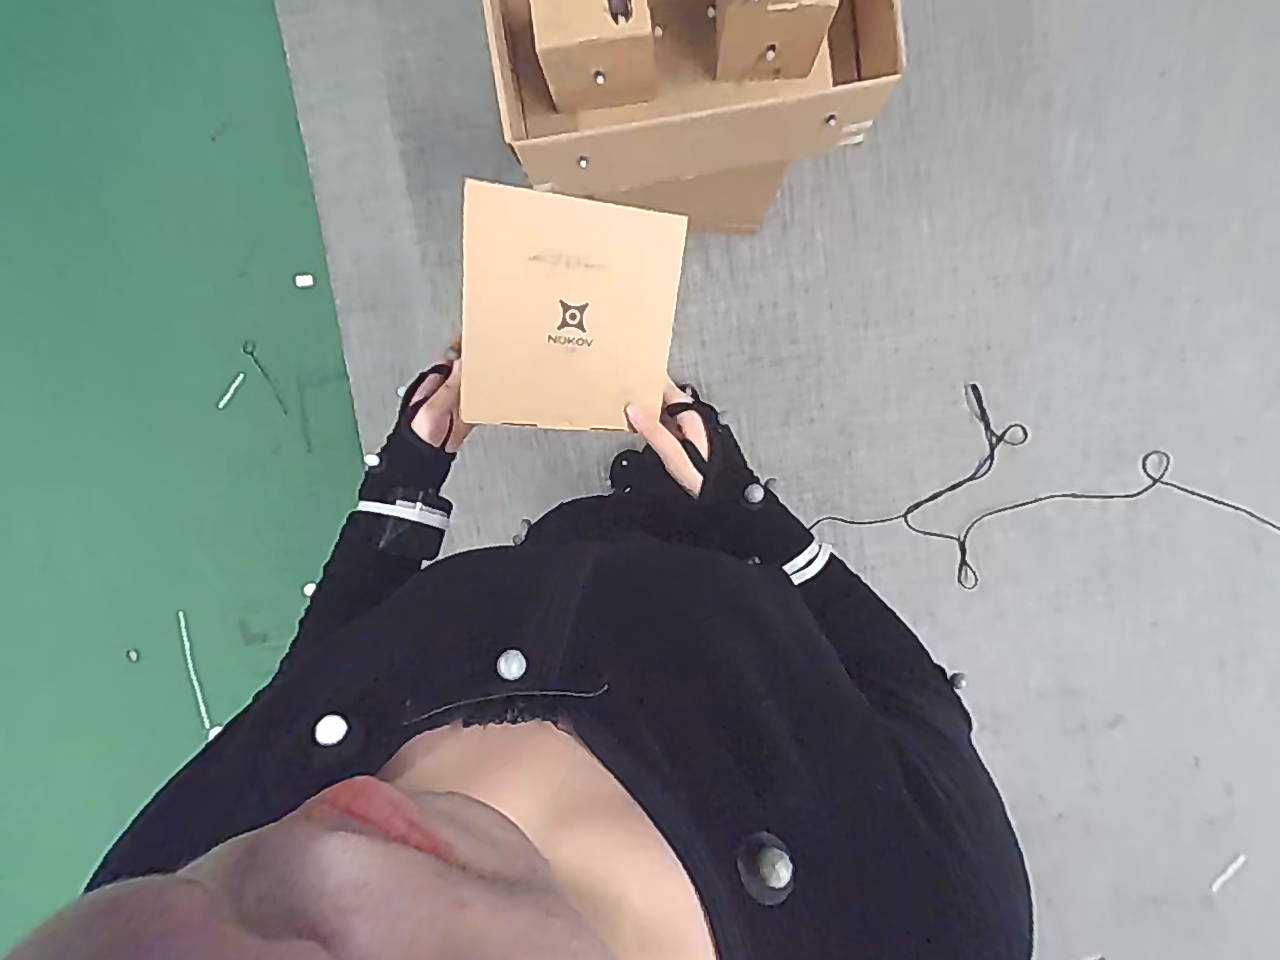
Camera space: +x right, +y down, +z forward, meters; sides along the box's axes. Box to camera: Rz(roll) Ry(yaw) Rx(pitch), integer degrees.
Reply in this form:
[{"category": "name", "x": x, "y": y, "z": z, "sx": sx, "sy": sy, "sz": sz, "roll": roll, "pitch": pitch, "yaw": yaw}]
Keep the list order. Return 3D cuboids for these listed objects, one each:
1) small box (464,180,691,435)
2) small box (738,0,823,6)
[{"category": "small box", "x": -0.069, "y": -0.152, "z": 0.498, "sx": 0.168, "sy": 0.176, "sz": 0.179, "roll": 2, "pitch": 110, "yaw": -17}, {"category": "small box", "x": 0.199, "y": -0.755, "z": 0.689, "sx": 0.168, "sy": 0.176, "sz": 0.179, "roll": -5, "pitch": 94, "yaw": 3}]
